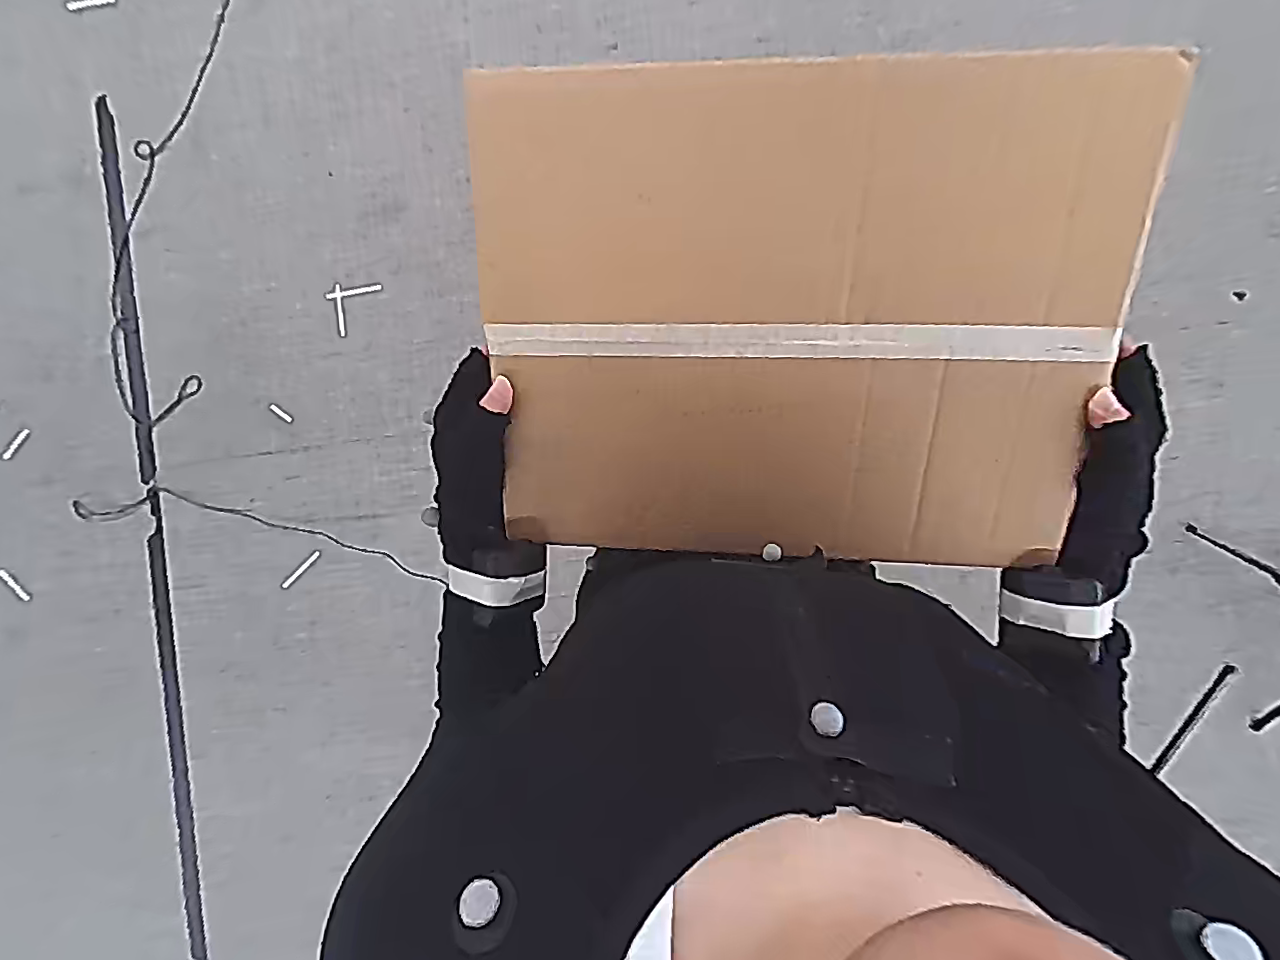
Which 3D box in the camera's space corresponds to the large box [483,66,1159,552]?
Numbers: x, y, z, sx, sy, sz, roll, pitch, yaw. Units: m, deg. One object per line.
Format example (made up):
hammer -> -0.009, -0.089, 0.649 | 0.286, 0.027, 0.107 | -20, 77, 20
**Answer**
large box -> 0.110, -0.143, 0.511 | 0.408, 0.320, 0.320 | 2, 111, 5
